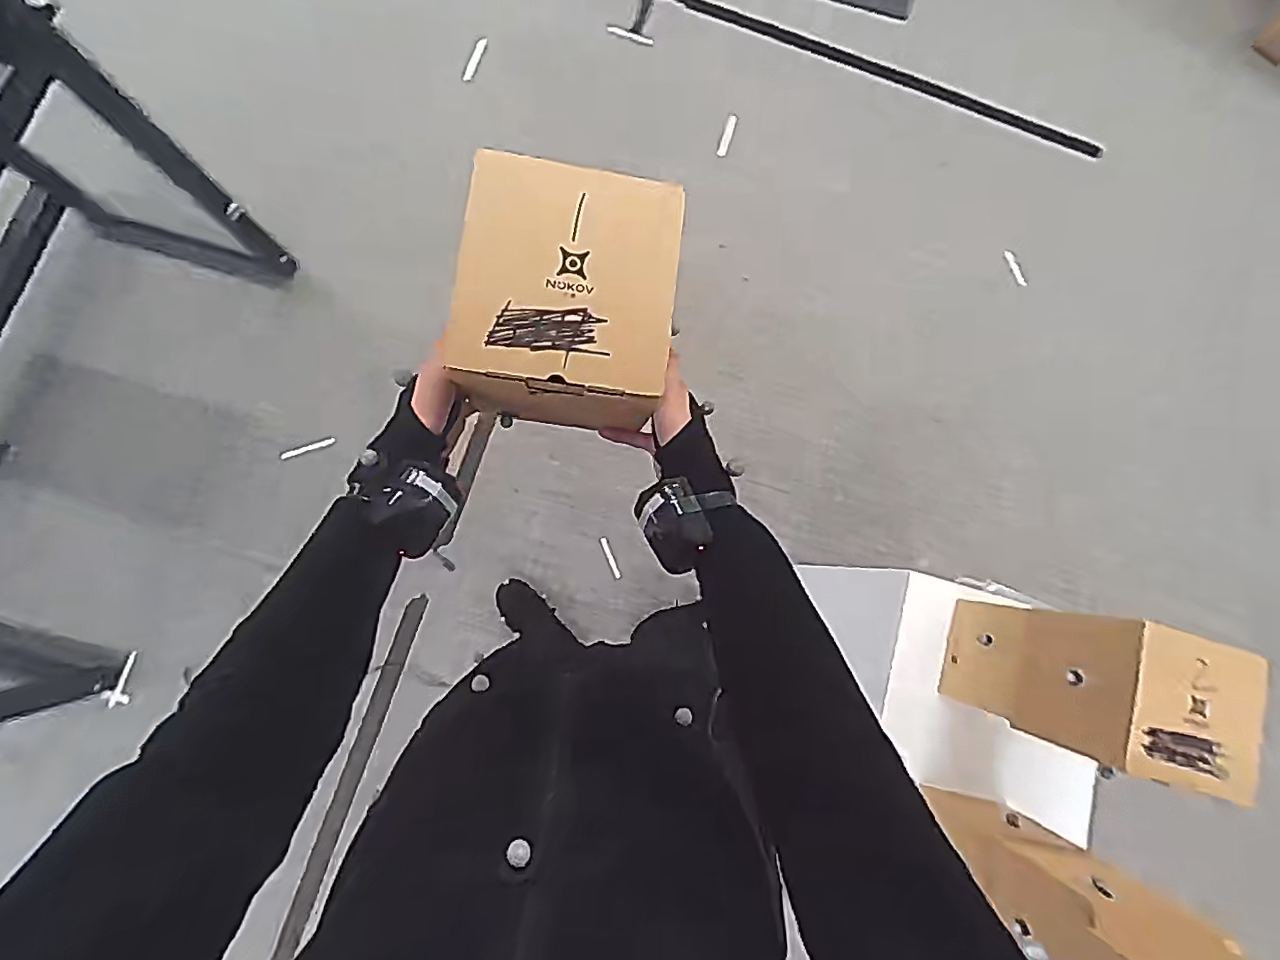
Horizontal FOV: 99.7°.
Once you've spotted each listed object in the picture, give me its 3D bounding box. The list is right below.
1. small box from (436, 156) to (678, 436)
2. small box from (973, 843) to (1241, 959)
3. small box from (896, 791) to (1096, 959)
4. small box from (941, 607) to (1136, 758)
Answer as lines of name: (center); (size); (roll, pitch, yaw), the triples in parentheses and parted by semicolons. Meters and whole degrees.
small box: (-0.068, -0.142, 0.485); (0.168, 0.176, 0.179); (7, 84, -7)
small box: (0.539, 0.572, 0.645); (0.179, 0.176, 0.168); (16, 80, -4)
small box: (0.521, 0.595, 0.808); (0.179, 0.176, 0.168); (15, 79, -4)
small box: (0.620, 0.308, 0.861); (0.179, 0.176, 0.168); (18, 81, -4)
